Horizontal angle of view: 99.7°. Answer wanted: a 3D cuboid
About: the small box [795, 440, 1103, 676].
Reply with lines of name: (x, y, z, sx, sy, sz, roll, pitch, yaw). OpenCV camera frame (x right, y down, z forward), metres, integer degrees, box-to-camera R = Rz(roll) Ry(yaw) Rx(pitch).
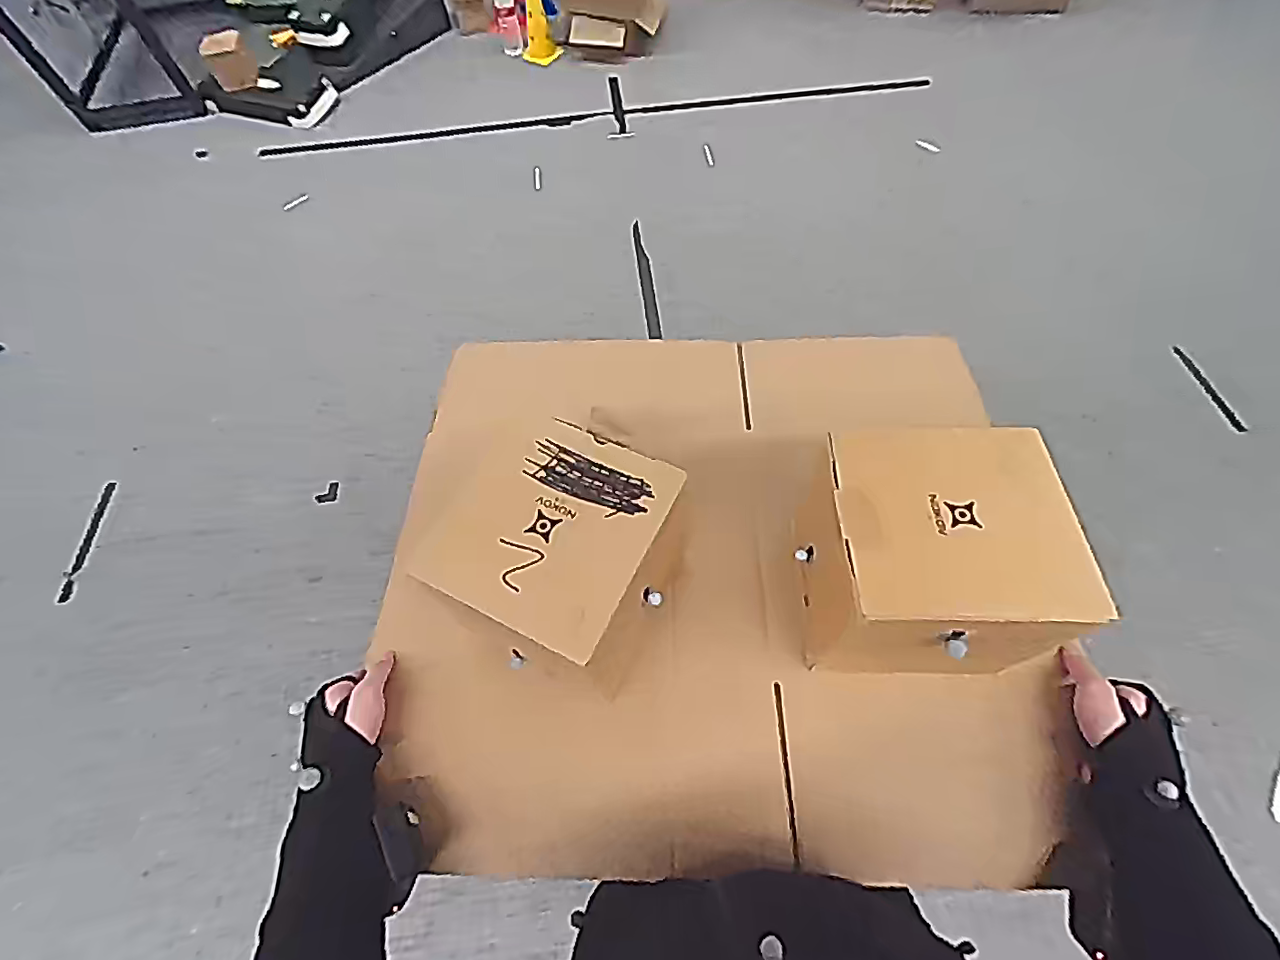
small box: (0.254, 0.078, 0.499, 0.179, 0.176, 0.168, 0, 58, 4)
